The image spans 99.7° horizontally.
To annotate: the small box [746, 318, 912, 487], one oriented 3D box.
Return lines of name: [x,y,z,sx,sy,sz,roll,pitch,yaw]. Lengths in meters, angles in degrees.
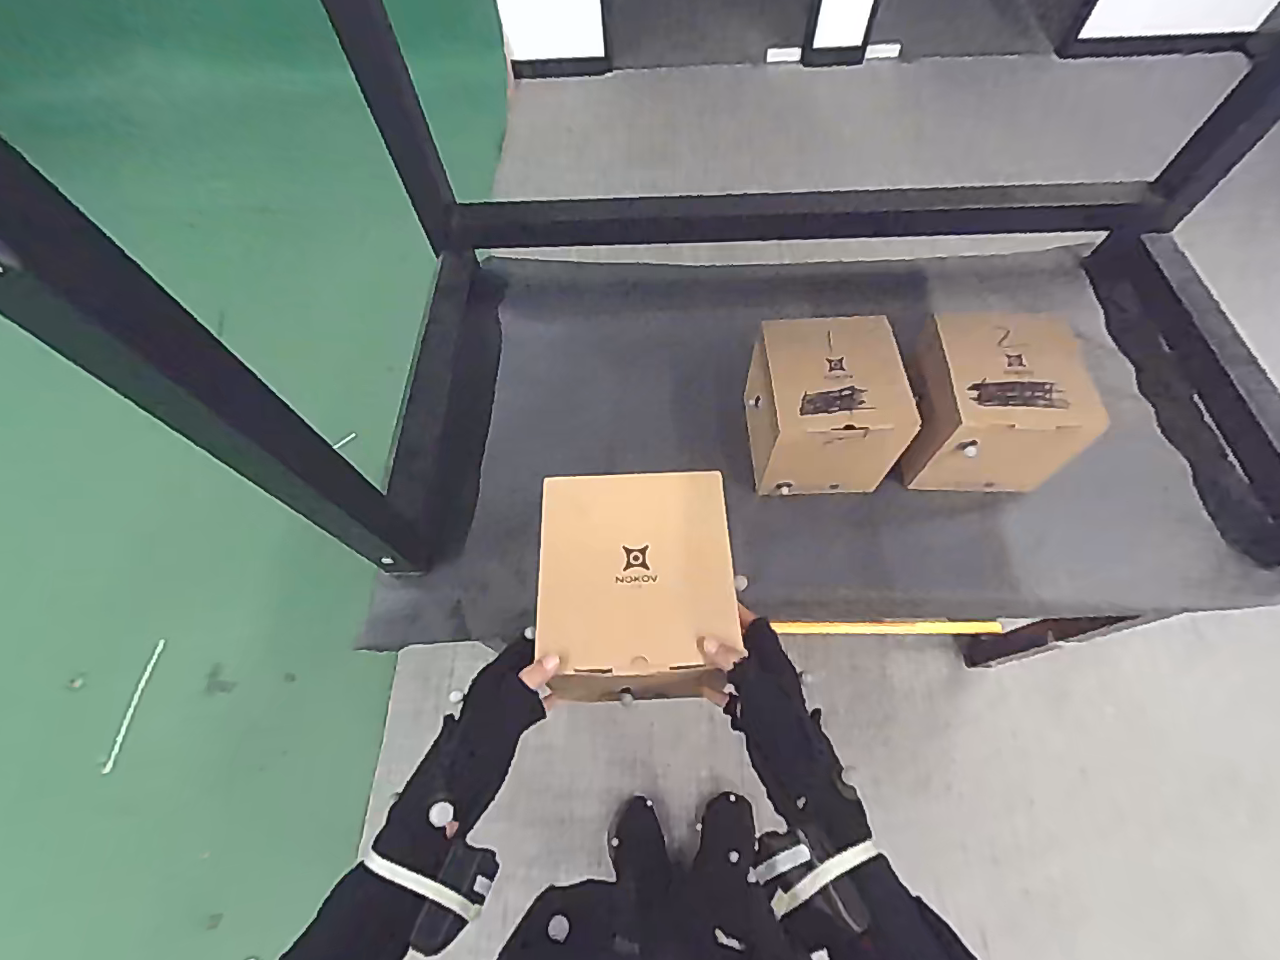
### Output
small box: [0.245,-0.097,0.749,0.168,0.176,0.179,-2,61,2]

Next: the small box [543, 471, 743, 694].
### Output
small box: [0.000,0.109,0.547,0.168,0.176,0.179,-3,61,-1]
